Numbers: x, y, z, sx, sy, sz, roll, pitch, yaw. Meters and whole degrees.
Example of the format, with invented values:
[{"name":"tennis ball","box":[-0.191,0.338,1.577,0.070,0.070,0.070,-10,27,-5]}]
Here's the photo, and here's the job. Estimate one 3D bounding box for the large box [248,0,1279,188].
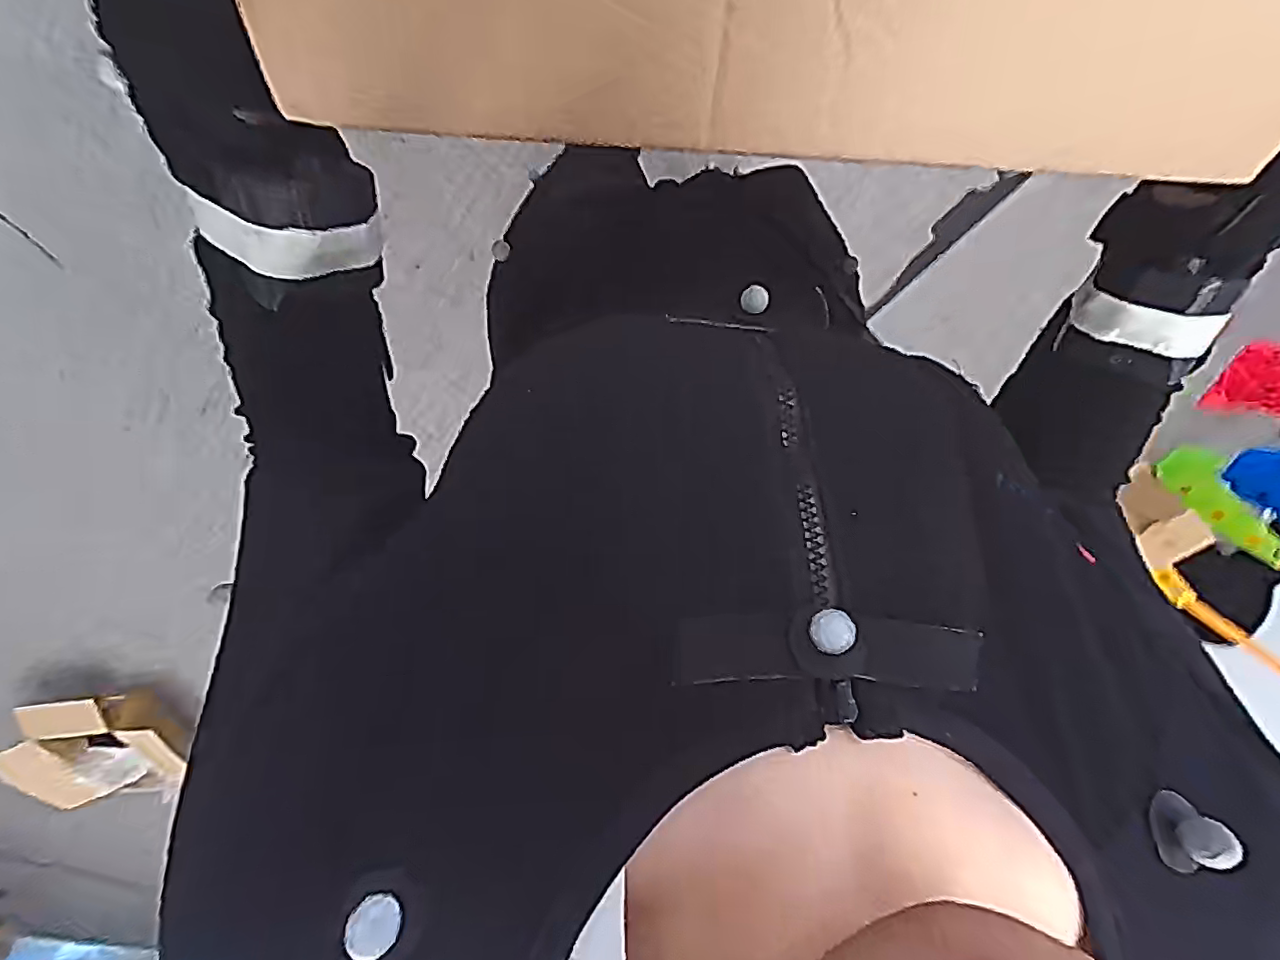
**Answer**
[{"name":"large box","box":[0.061,-0.347,0.229,0.408,0.320,0.320,1,135,-3]}]
